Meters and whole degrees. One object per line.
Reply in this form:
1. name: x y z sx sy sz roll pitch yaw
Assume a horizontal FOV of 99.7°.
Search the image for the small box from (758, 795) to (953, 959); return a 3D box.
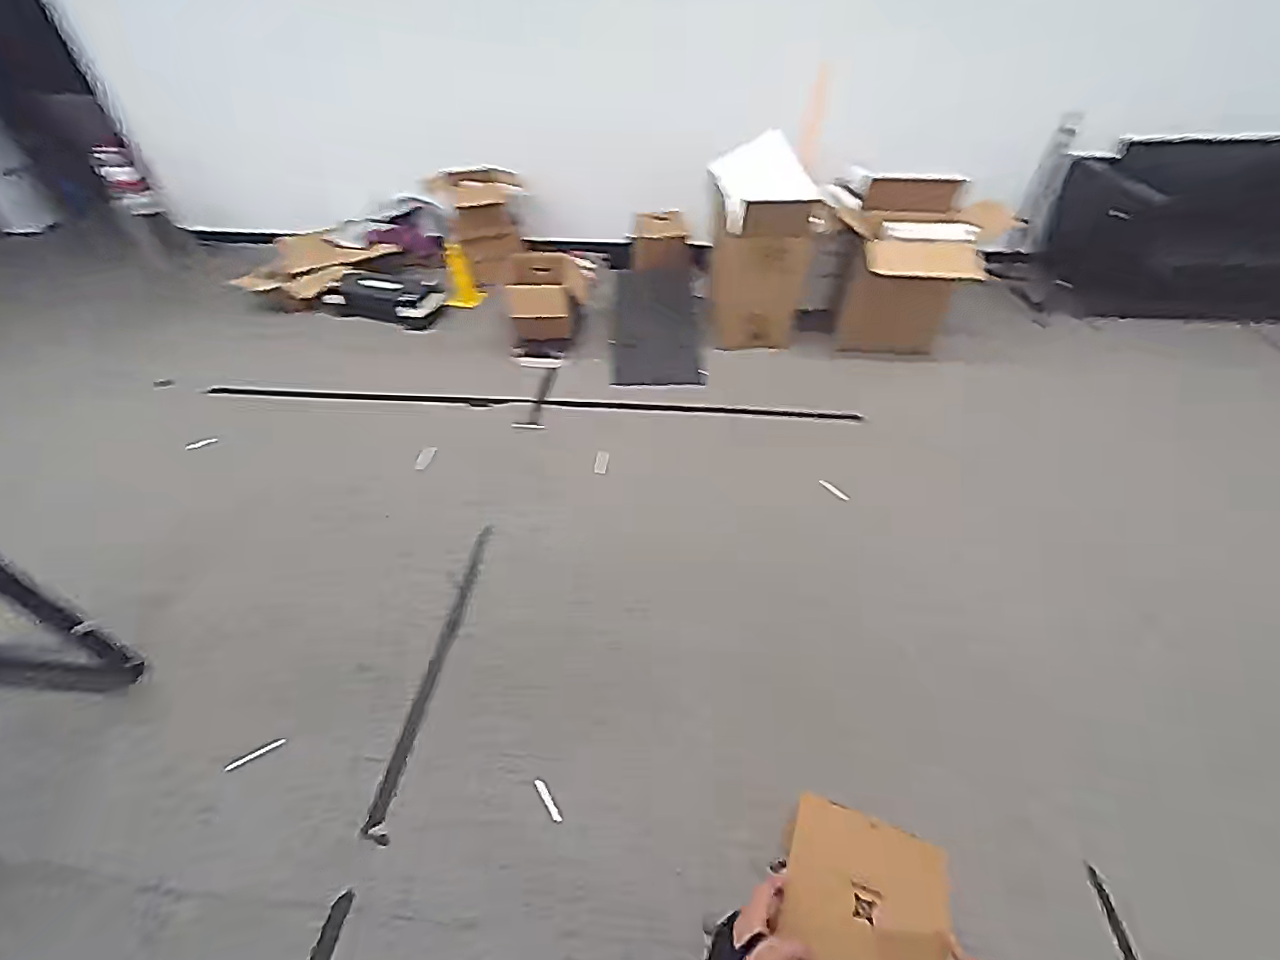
1. small box: 0.237 0.507 0.614 0.168 0.176 0.179 15 44 17
